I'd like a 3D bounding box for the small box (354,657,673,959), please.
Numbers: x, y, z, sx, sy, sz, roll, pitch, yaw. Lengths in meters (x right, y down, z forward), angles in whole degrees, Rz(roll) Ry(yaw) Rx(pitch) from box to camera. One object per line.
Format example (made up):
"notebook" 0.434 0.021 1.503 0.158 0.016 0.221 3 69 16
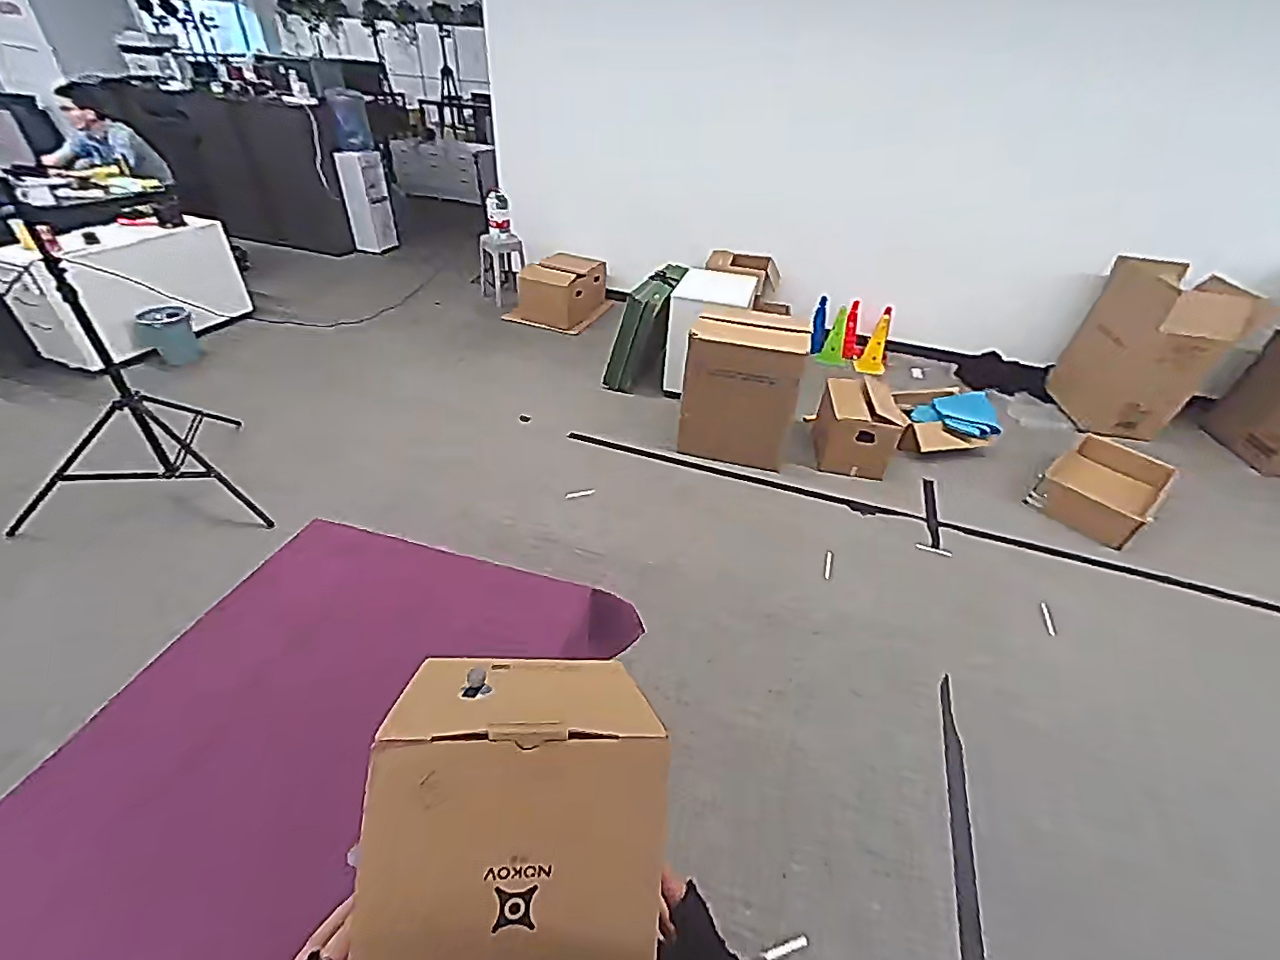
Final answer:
"small box" -0.081 0.227 0.372 0.168 0.179 0.176 5 -5 -11
